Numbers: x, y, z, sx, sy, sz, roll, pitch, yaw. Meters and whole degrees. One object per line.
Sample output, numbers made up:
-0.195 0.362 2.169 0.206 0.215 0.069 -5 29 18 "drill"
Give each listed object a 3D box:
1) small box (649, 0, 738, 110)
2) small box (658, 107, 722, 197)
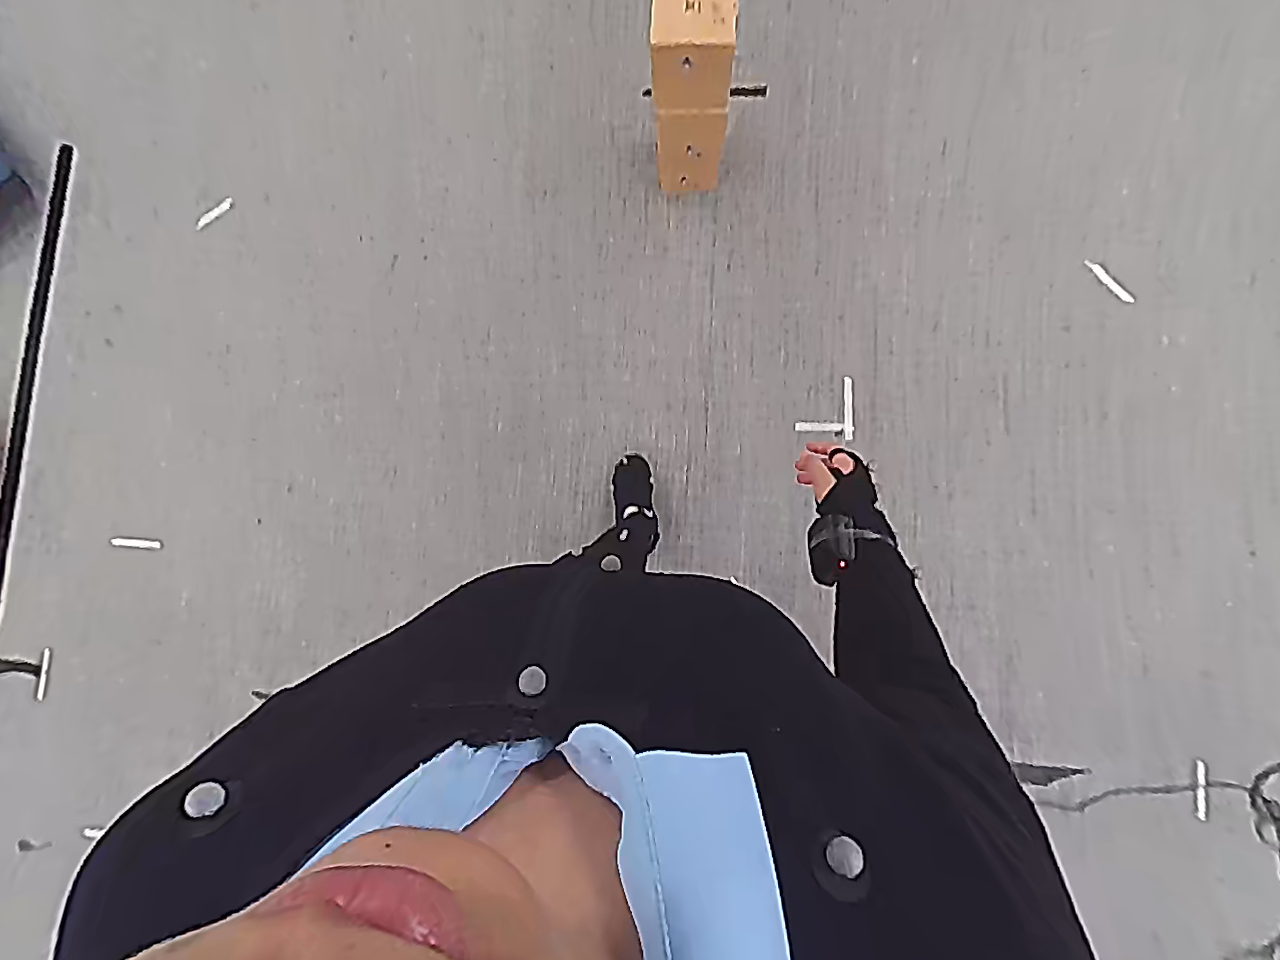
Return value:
0.115 -0.938 1.169 0.179 0.176 0.168 3 86 4 "small box"
0.133 -0.920 1.498 0.168 0.176 0.179 -2 85 3 "small box"
